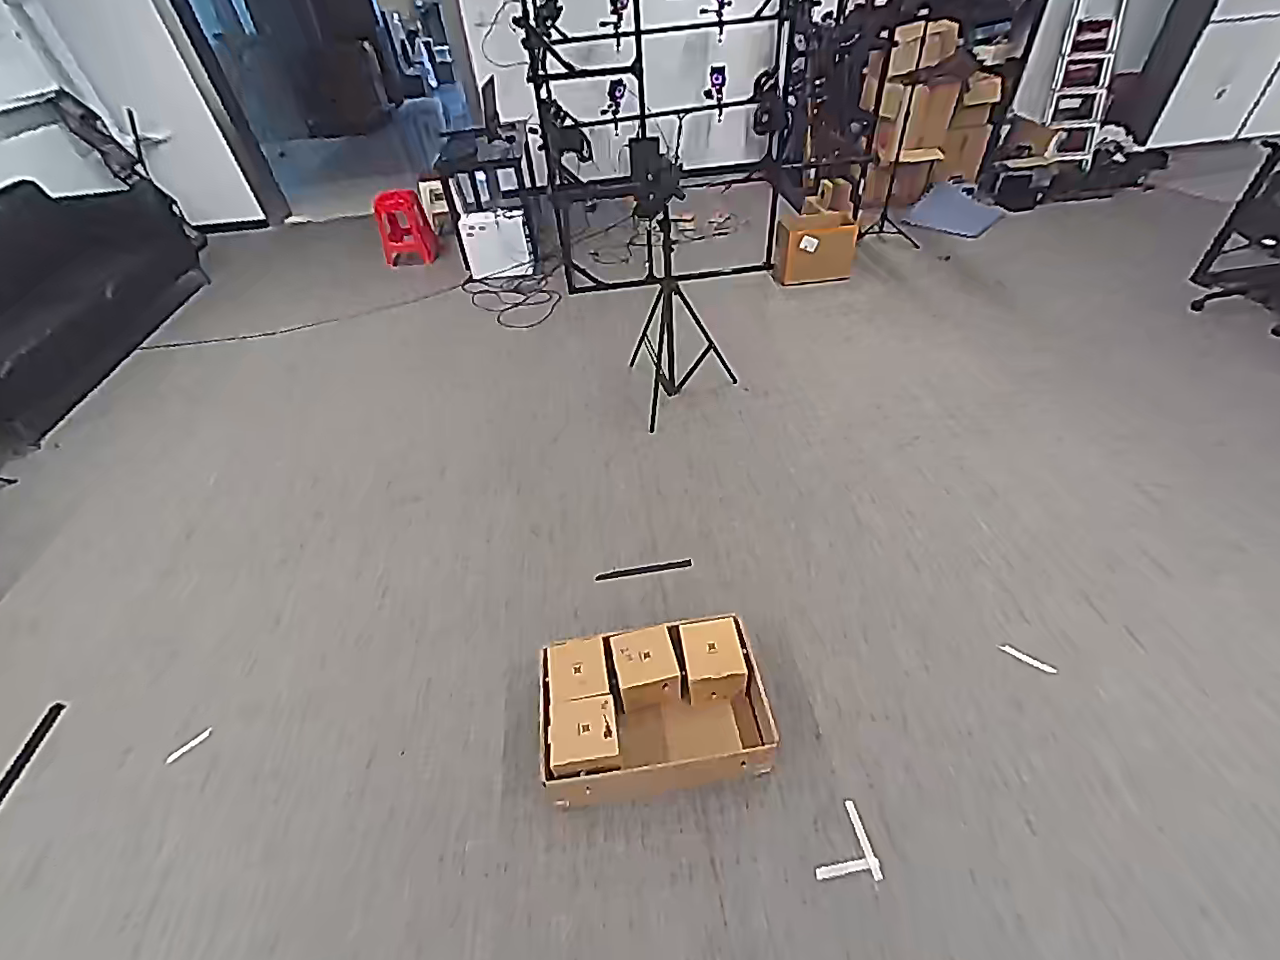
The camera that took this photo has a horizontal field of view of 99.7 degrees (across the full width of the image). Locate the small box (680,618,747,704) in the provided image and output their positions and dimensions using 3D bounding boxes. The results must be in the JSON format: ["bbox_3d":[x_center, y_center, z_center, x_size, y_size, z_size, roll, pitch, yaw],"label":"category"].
[{"bbox_3d":[0.213,0.538,1.607,0.168,0.176,0.179,-9,47,-1],"label":"small box"}]
